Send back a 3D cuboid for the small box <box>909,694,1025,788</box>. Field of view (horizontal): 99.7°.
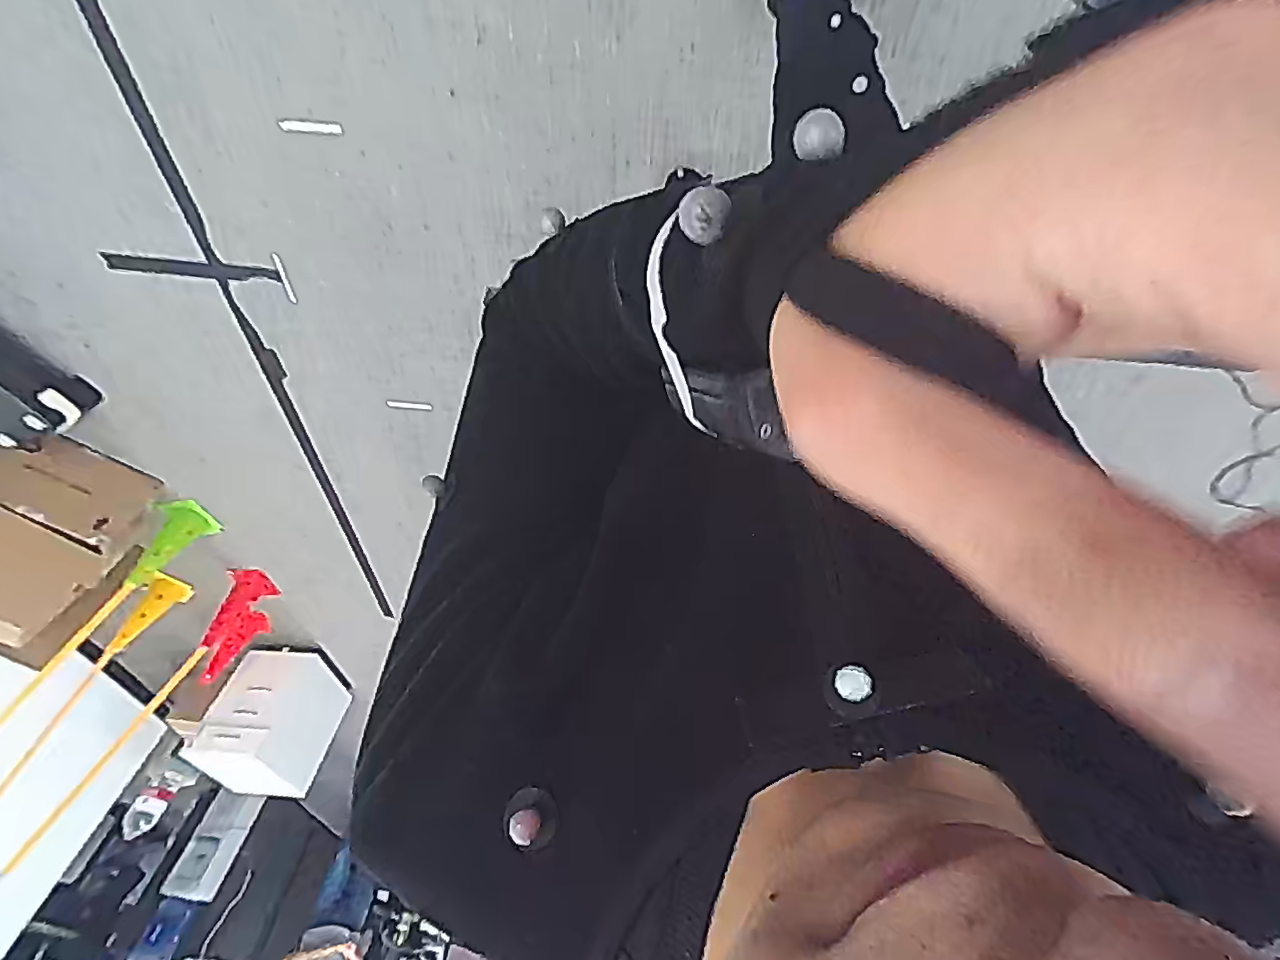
[{"bbox_3d":[0.834,0.674,1.400,0.179,0.176,0.168,4,131,2],"label":"small box"}]

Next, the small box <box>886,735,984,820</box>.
[{"bbox_3d":[0.840,0.856,1.559,0.179,0.176,0.168,2,131,4],"label":"small box"}]
